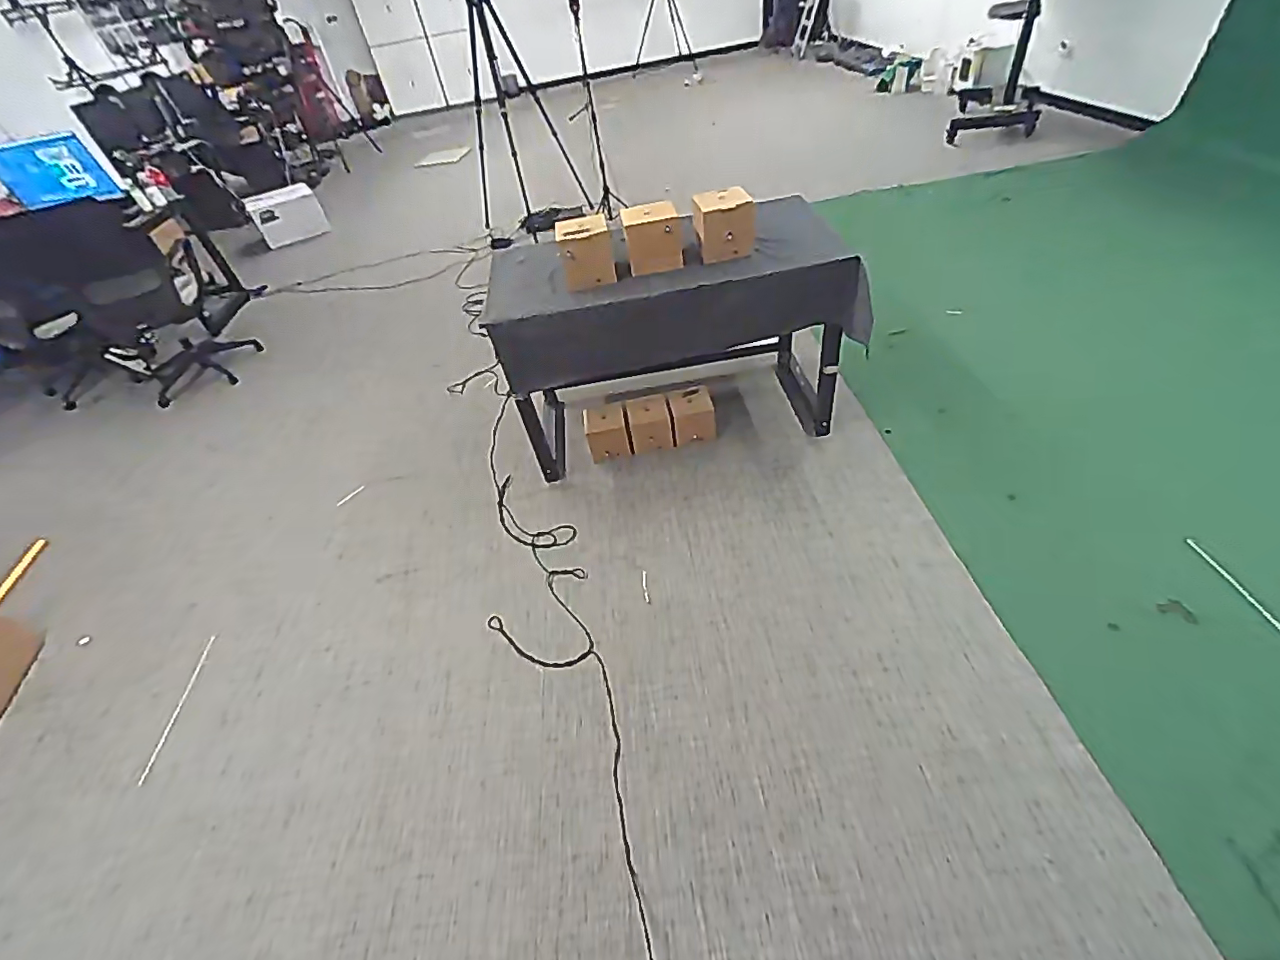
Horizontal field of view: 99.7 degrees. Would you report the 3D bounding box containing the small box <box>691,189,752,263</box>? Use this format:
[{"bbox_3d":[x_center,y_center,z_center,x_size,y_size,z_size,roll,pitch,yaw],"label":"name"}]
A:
[{"bbox_3d":[0.271,-0.834,1.787,0.168,0.176,0.179,-11,44,-1],"label":"small box"}]
